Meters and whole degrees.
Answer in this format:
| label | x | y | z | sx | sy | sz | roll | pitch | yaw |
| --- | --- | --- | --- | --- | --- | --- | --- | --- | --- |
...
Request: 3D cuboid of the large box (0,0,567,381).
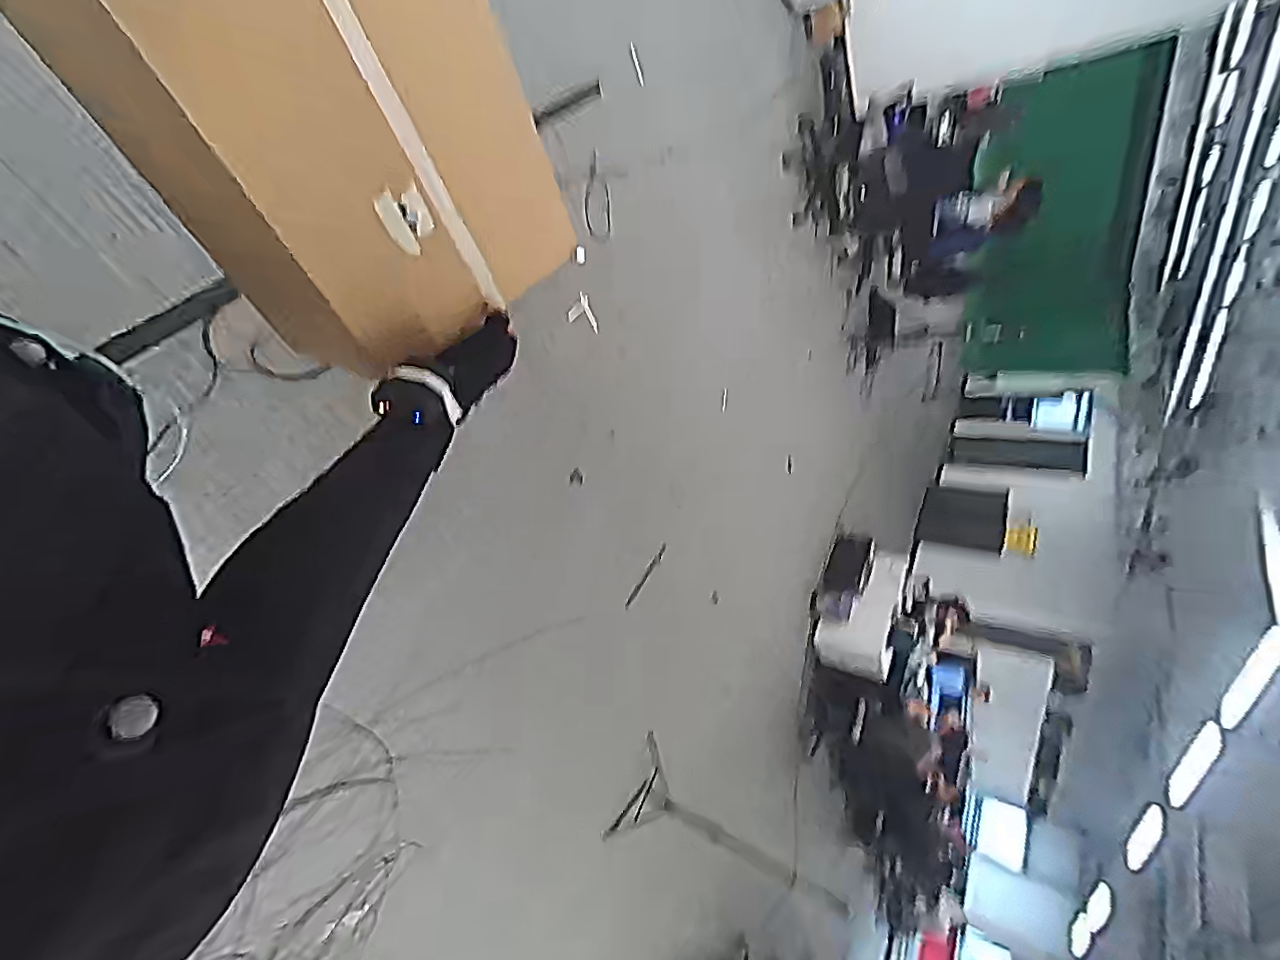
| label | x | y | z | sx | sy | sz | roll | pitch | yaw |
| --- | --- | --- | --- | --- | --- | --- | --- | --- | --- |
| large box | -0.354 | -0.385 | 0.611 | 0.320 | 0.320 | 0.408 | -48 | 140 | -24 |
